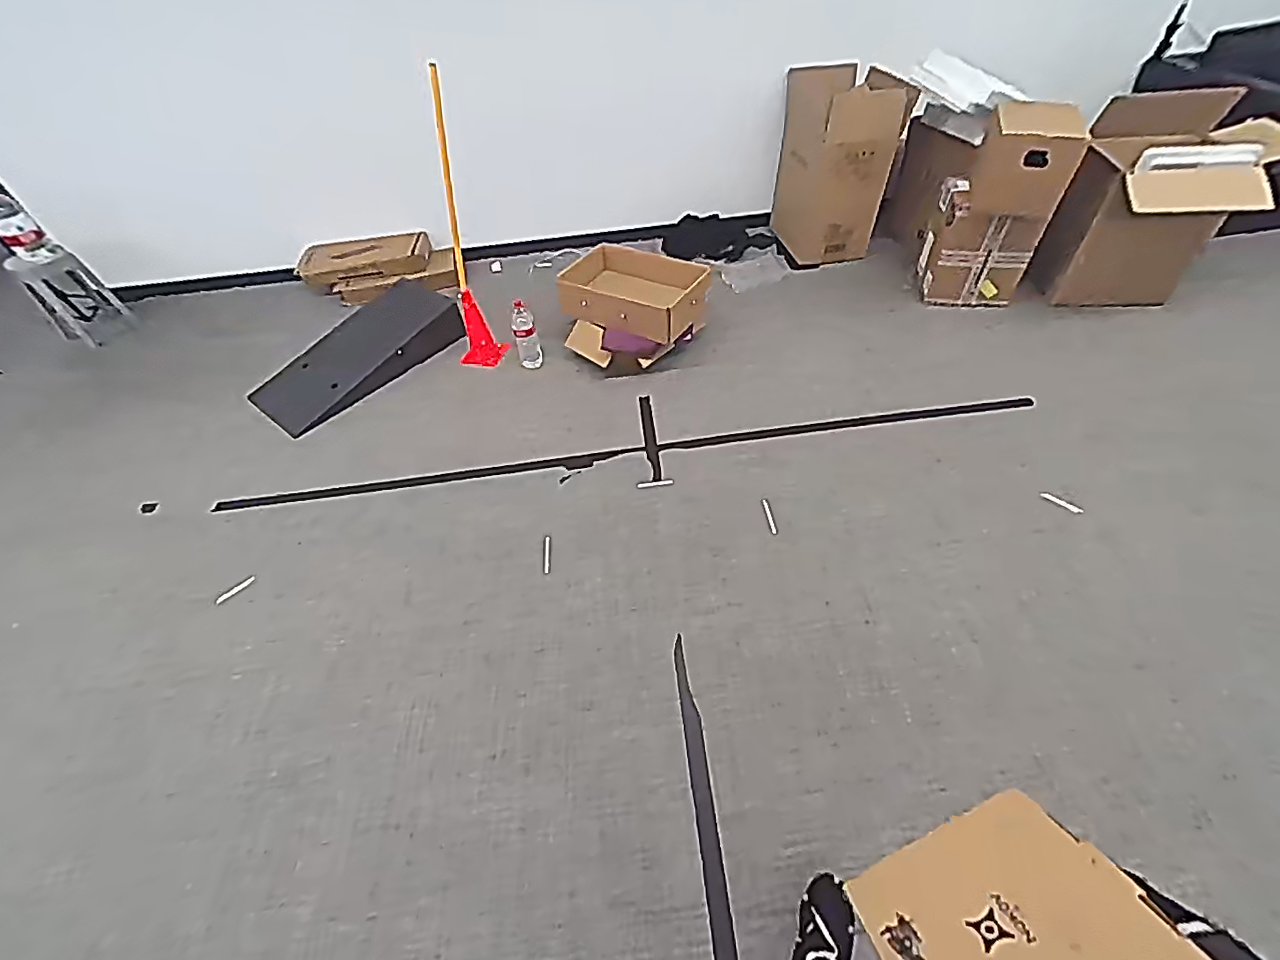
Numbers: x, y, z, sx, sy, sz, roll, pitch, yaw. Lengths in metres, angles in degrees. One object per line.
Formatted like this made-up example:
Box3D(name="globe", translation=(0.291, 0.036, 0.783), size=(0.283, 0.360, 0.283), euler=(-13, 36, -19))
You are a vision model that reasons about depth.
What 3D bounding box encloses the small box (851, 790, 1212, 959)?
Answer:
Box3D(name="small box", translation=(0.300, 0.391, 0.405), size=(0.179, 0.176, 0.168), euler=(-28, 9, -1))
